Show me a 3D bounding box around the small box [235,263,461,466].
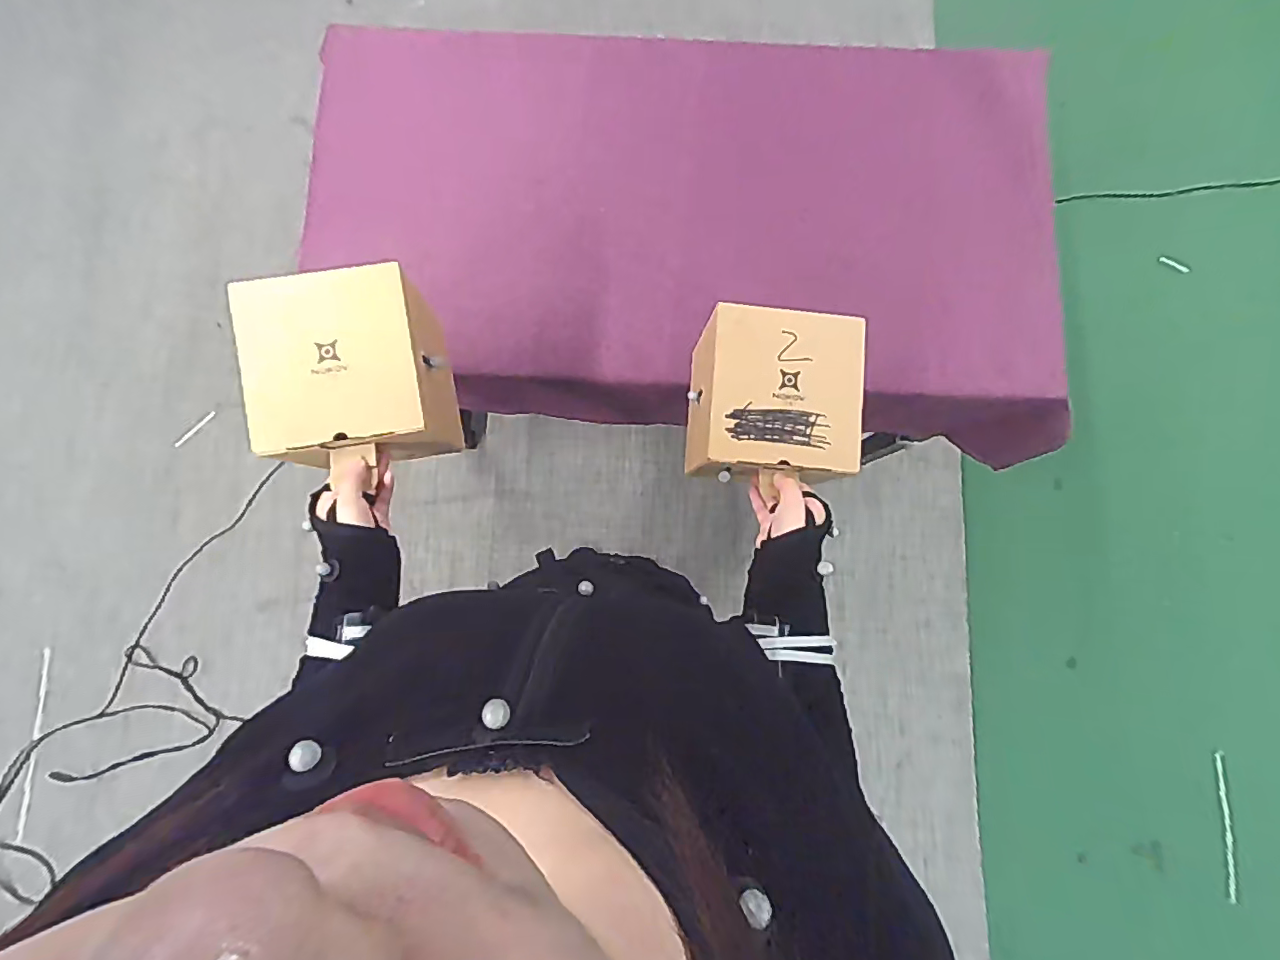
[{"bbox_3d":[-0.312,-0.118,0.611,0.168,0.176,0.179,-9,88,-7],"label":"small box"}]
